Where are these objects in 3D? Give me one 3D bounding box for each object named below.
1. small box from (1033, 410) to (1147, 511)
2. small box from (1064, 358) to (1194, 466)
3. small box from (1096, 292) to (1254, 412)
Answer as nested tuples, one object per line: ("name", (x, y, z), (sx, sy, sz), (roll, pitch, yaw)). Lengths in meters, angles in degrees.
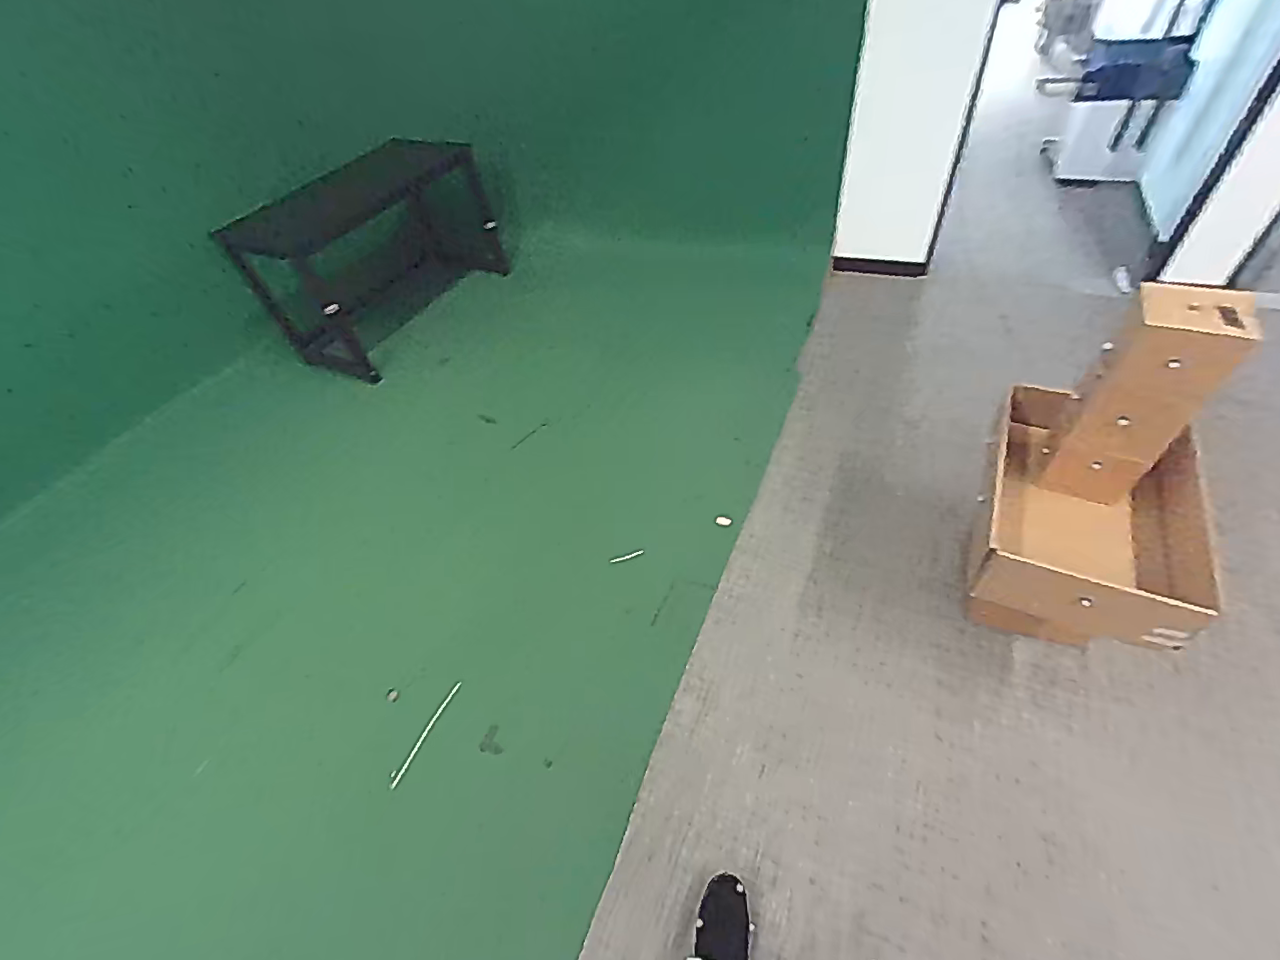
("small box", (1.138, -0.047, 1.377), (0.179, 0.176, 0.168), (20, 55, 23))
("small box", (1.123, -0.156, 1.256), (0.179, 0.176, 0.168), (18, 55, 23))
("small box", (1.106, -0.264, 1.133), (0.179, 0.176, 0.168), (17, 54, 23))
